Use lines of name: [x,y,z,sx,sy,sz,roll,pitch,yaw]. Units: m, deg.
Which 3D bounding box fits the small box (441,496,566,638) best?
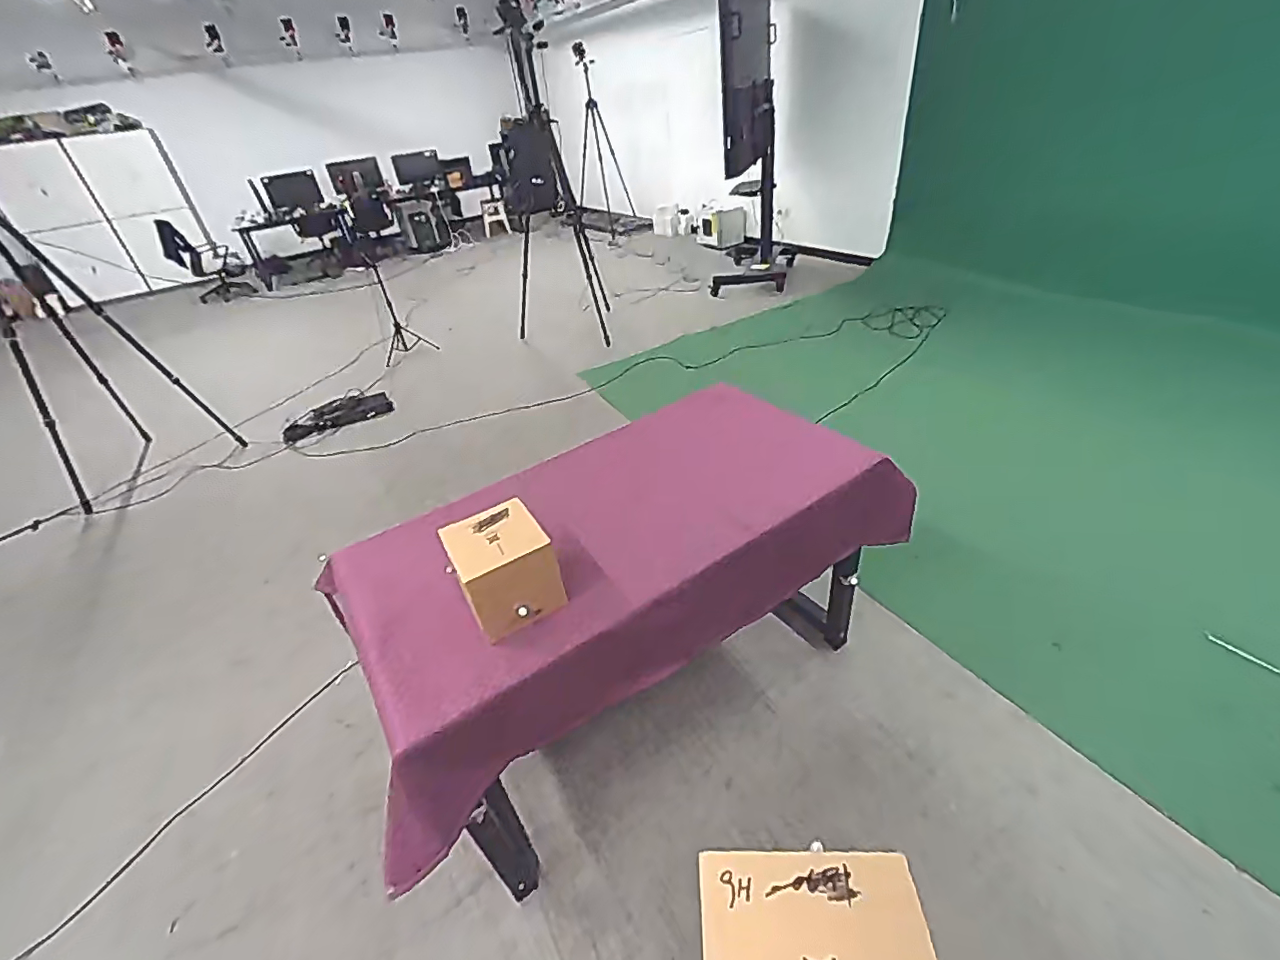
small box: [-0.260,0.166,1.041,0.168,0.176,0.179,-25,40,-22]
